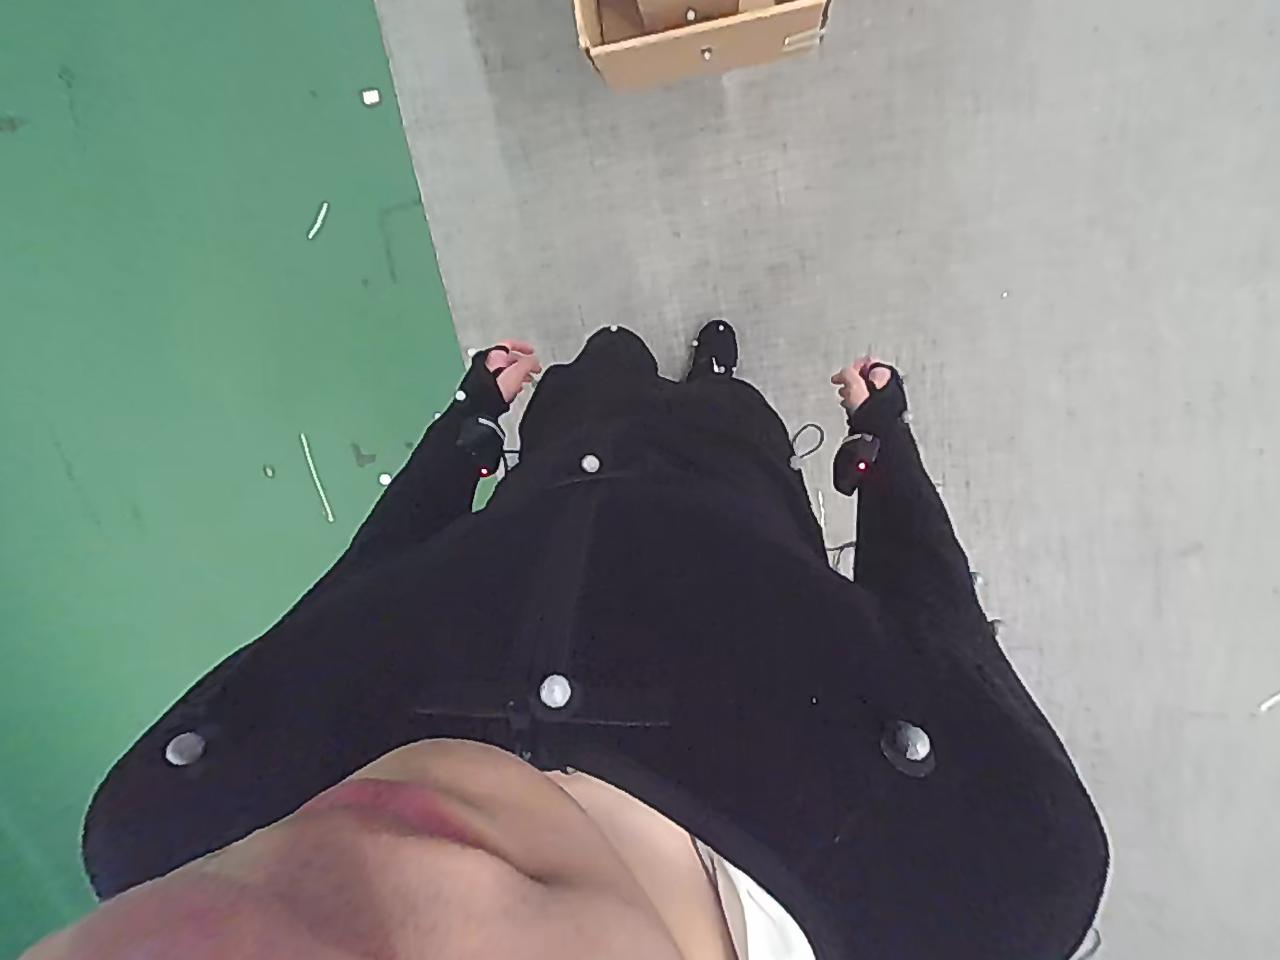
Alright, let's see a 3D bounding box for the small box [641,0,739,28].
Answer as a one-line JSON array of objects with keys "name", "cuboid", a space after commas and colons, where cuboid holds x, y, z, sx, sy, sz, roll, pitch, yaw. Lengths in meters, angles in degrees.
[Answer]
[{"name": "small box", "cuboid": [0.069, -0.859, 0.840, 0.168, 0.176, 0.179, -4, 107, 12]}]
